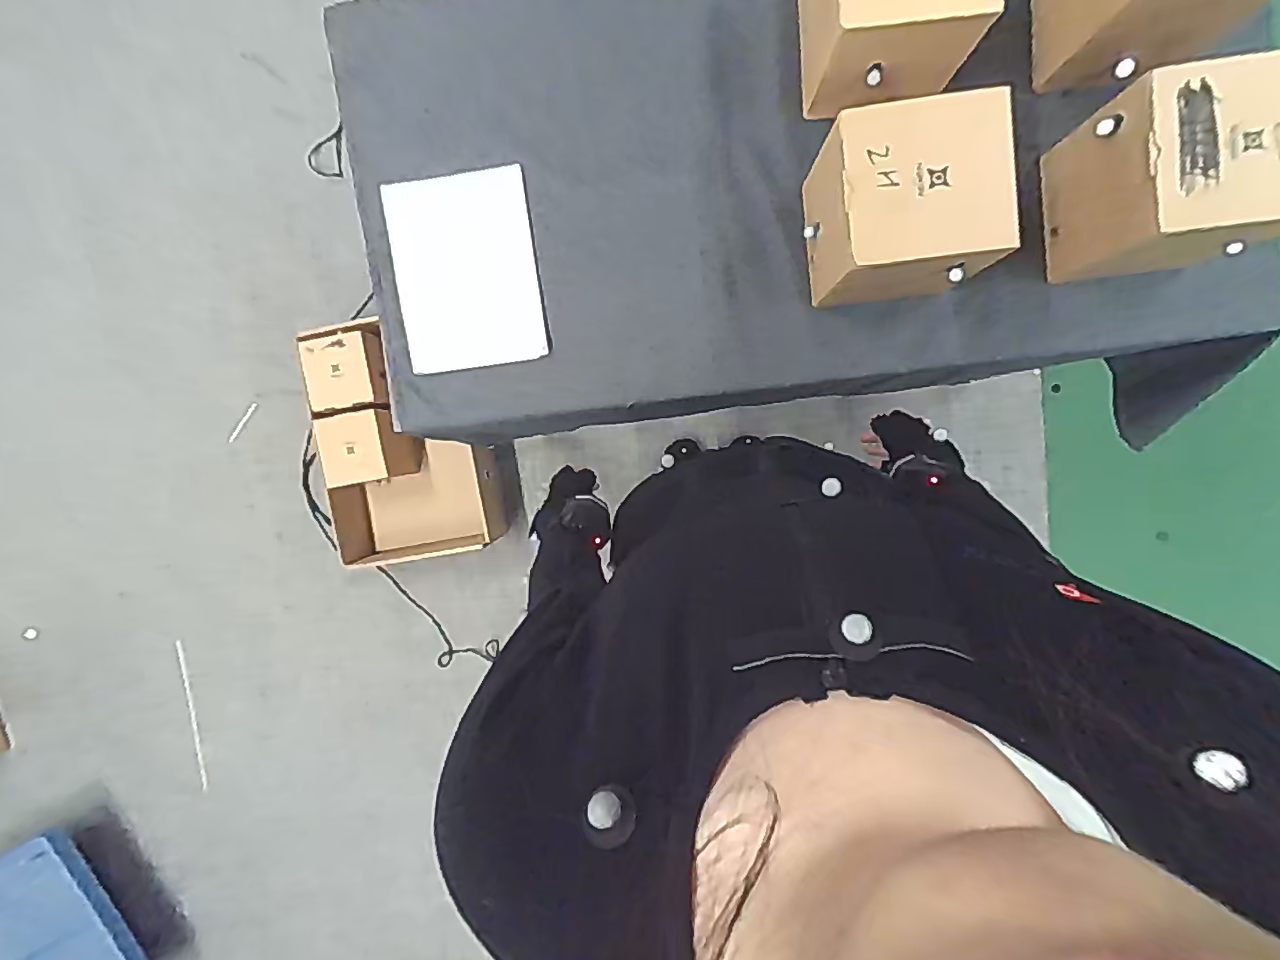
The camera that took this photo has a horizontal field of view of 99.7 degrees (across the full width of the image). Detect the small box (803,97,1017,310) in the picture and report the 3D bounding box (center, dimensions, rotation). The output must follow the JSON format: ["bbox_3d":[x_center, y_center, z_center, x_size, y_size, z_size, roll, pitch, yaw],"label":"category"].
[{"bbox_3d":[0.308,-0.314,0.648,0.179,0.176,0.168,-5,92,4],"label":"small box"}]

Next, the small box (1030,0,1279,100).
[{"bbox_3d":[0.580,-0.579,0.615,0.168,0.176,0.179,-3,94,5],"label":"small box"}]

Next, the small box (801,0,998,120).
[{"bbox_3d":[0.292,-0.558,0.639,0.168,0.176,0.179,-3,93,4],"label":"small box"}]
